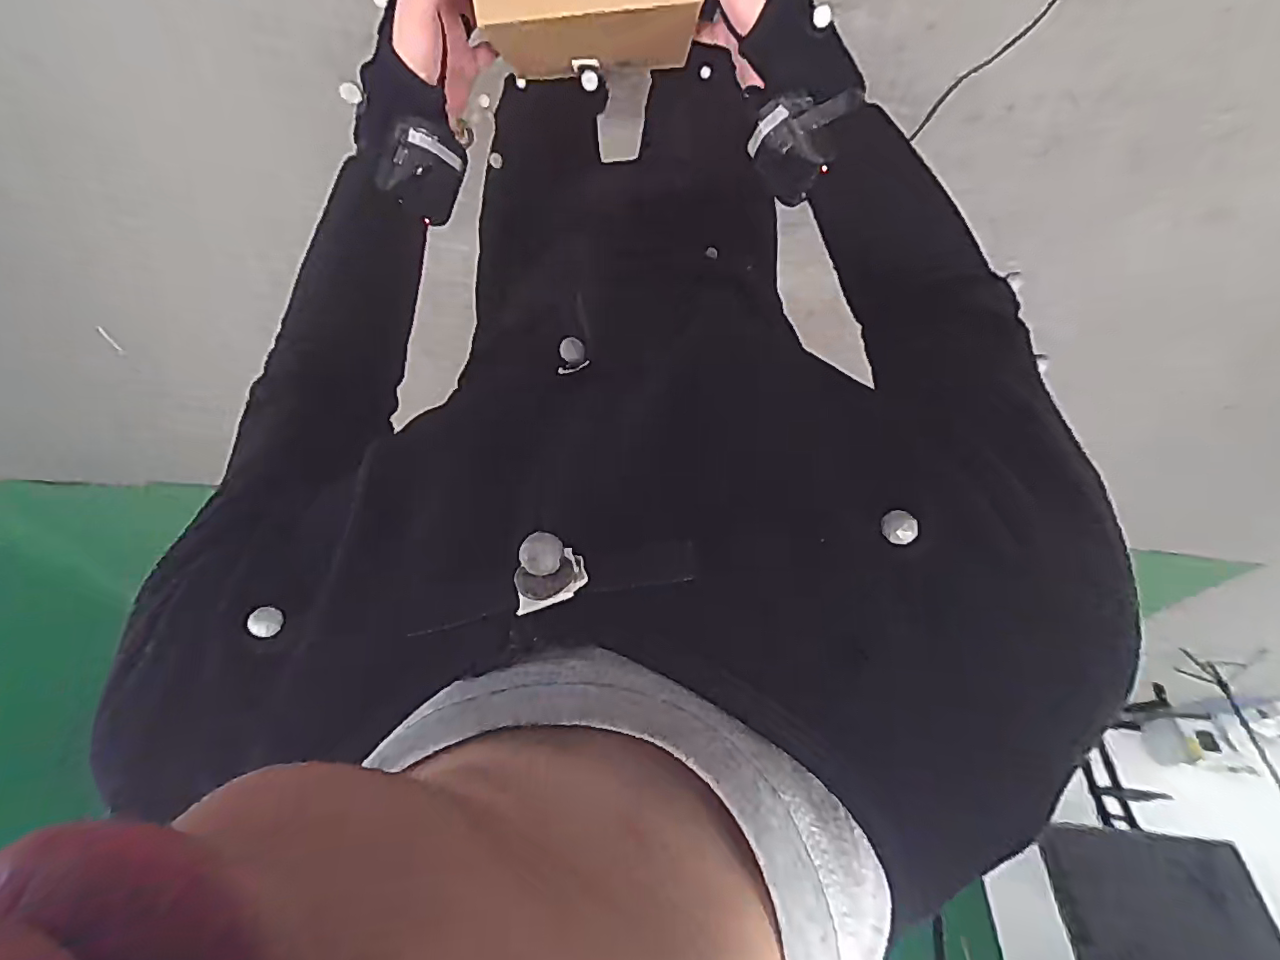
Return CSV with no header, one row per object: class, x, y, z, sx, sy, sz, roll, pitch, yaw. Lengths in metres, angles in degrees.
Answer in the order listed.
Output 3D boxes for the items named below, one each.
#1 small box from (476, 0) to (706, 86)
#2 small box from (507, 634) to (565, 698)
small box,-0.041,-0.442,0.424,0.168,0.176,0.179,-5,114,2
small box,-0.349,0.634,1.846,0.168,0.176,0.179,4,146,-1
